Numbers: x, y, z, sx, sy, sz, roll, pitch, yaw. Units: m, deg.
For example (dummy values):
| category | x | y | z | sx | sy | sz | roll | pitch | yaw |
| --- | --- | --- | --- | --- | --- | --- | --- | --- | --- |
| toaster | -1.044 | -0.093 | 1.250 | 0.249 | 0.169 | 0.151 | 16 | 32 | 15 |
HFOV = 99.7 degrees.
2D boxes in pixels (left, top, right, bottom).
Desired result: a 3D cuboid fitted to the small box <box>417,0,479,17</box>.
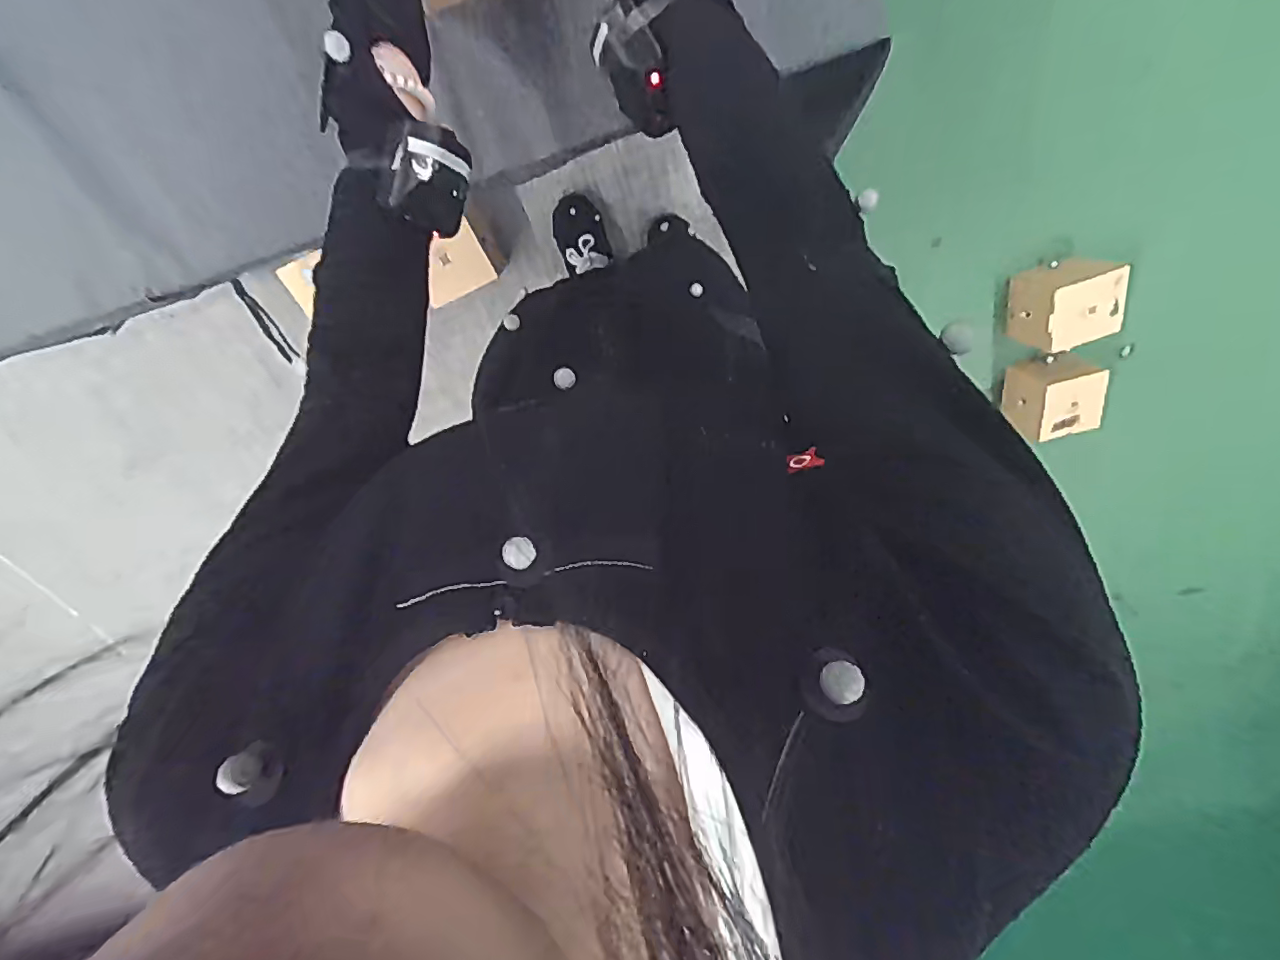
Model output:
| category | x | y | z | sx | sy | sz | roll | pitch | yaw |
| --- | --- | --- | --- | --- | --- | --- | --- | --- | --- |
| small box | -0.143 | -0.477 | 0.382 | 0.168 | 0.176 | 0.179 | -18 | 122 | 7 |

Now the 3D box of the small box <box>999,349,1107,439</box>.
| category | x | y | z | sx | sy | sz | roll | pitch | yaw |
| --- | --- | --- | --- | --- | --- | --- | --- | --- | --- |
| small box | 1.147 | -0.243 | 1.520 | 0.168 | 0.176 | 0.179 | -15 | 122 | 4 |

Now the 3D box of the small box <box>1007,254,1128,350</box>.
| category | x | y | z | sx | sy | sz | roll | pitch | yaw |
| --- | --- | --- | --- | --- | --- | --- | --- | --- | --- |
| small box | 1.074 | -0.457 | 1.377 | 0.179 | 0.176 | 0.168 | -17 | 122 | 7 |
